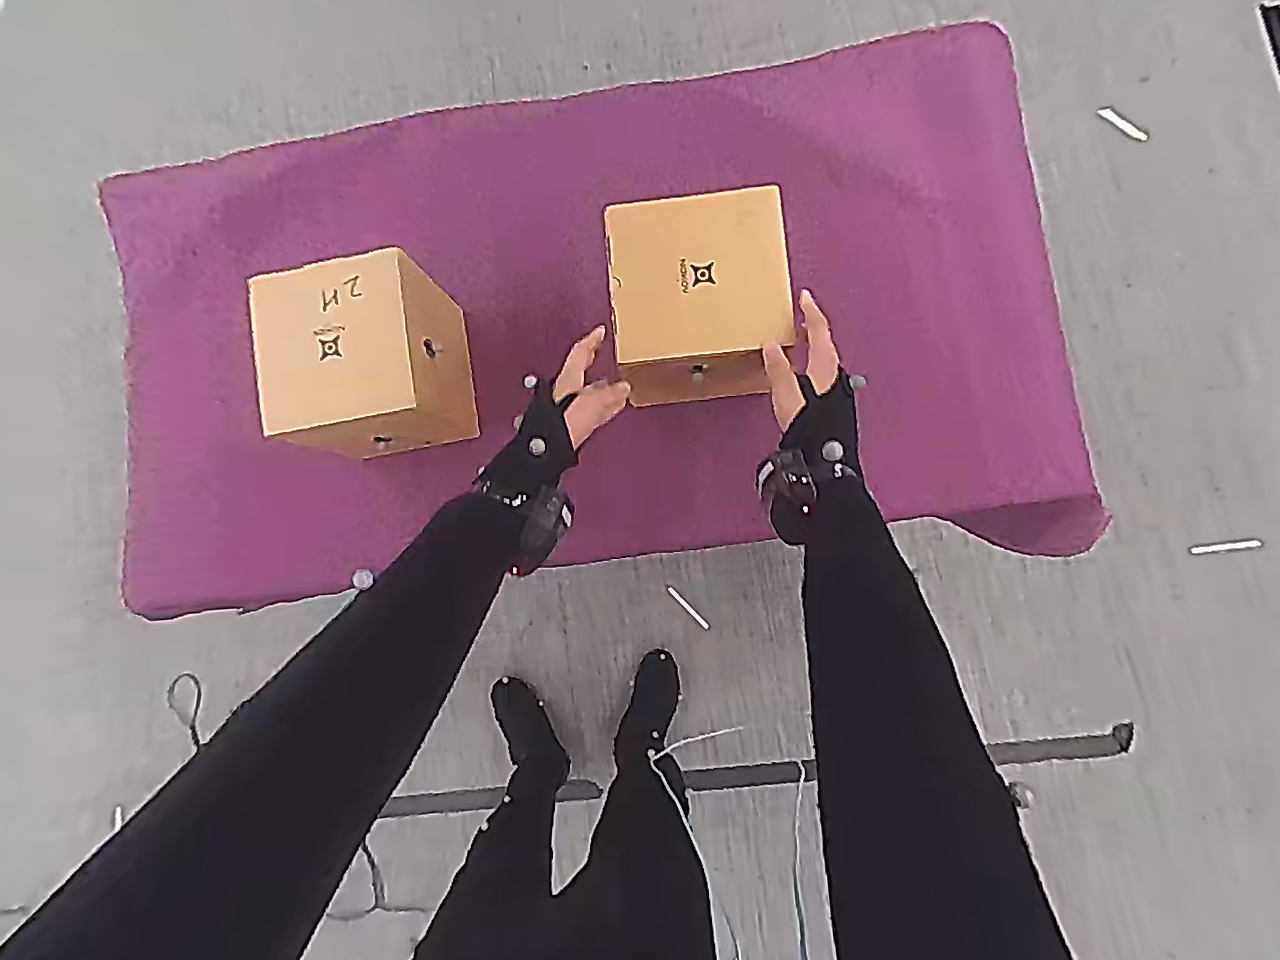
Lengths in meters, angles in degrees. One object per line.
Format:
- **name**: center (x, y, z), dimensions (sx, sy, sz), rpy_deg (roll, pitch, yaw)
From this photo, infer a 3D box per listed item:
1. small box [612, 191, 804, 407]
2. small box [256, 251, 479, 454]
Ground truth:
- **small box**: center (0.071, -0.185, 0.601), dimensions (0.179, 0.176, 0.168), rpy_deg (-5, 84, 6)
- **small box**: center (-0.300, -0.130, 0.628), dimensions (0.168, 0.176, 0.179), rpy_deg (-9, 83, 4)
